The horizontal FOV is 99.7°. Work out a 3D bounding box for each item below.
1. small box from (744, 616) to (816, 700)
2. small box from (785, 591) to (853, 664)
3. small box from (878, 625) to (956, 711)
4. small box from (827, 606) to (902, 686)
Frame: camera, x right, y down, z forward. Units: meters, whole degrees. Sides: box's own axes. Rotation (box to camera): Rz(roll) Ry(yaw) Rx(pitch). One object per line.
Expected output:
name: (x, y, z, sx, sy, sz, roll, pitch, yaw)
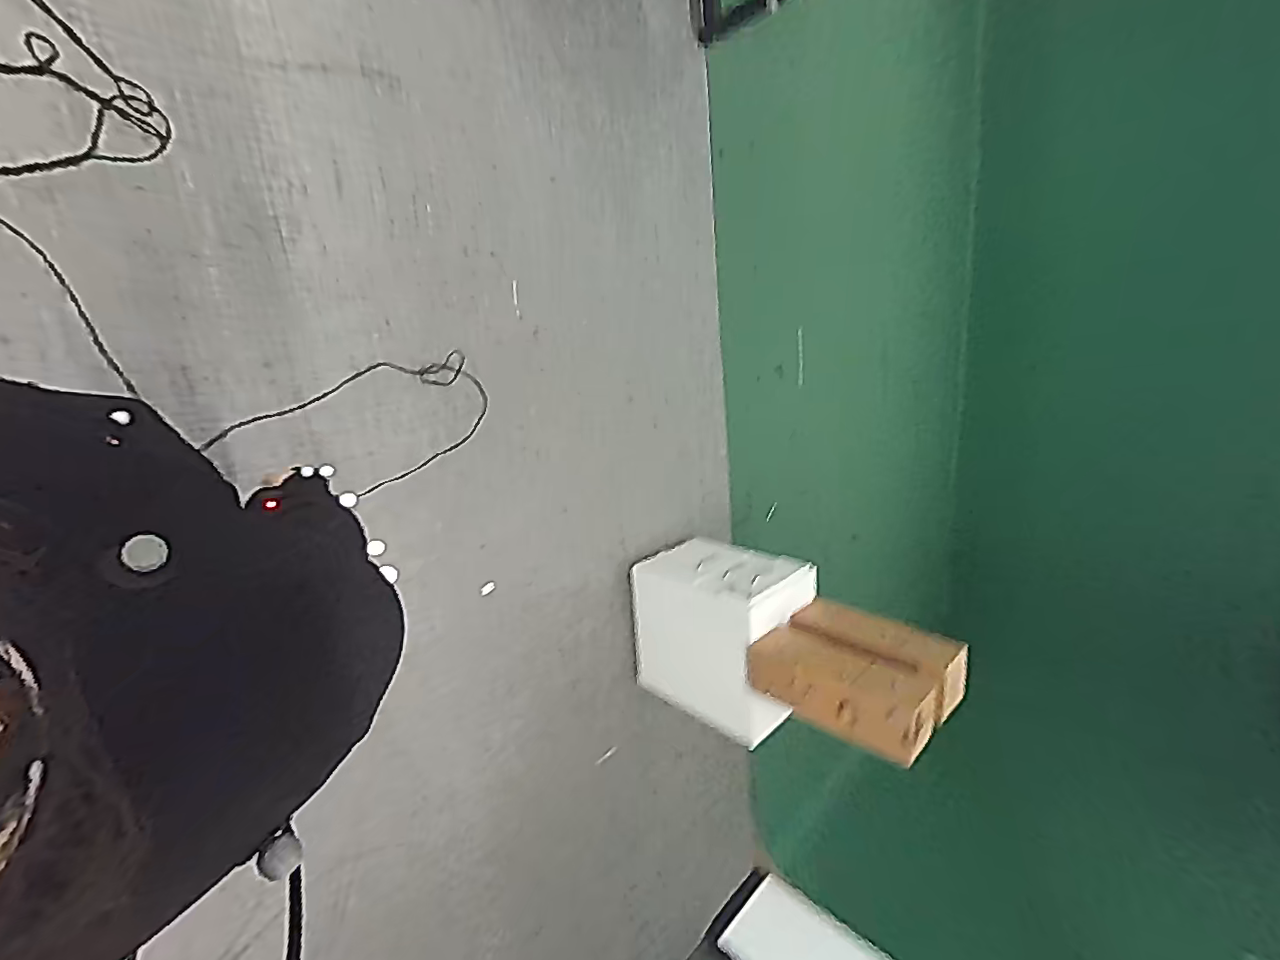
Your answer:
small box: (0.447, 0.564, 1.736, 0.179, 0.176, 0.168, -18, 111, -43)
small box: (0.625, 0.509, 1.897, 0.179, 0.176, 0.168, -15, 108, -41)
small box: (0.848, 0.565, 1.660, 0.168, 0.176, 0.179, -16, 109, -40)
small box: (0.739, 0.536, 1.781, 0.179, 0.176, 0.168, -16, 108, -40)
